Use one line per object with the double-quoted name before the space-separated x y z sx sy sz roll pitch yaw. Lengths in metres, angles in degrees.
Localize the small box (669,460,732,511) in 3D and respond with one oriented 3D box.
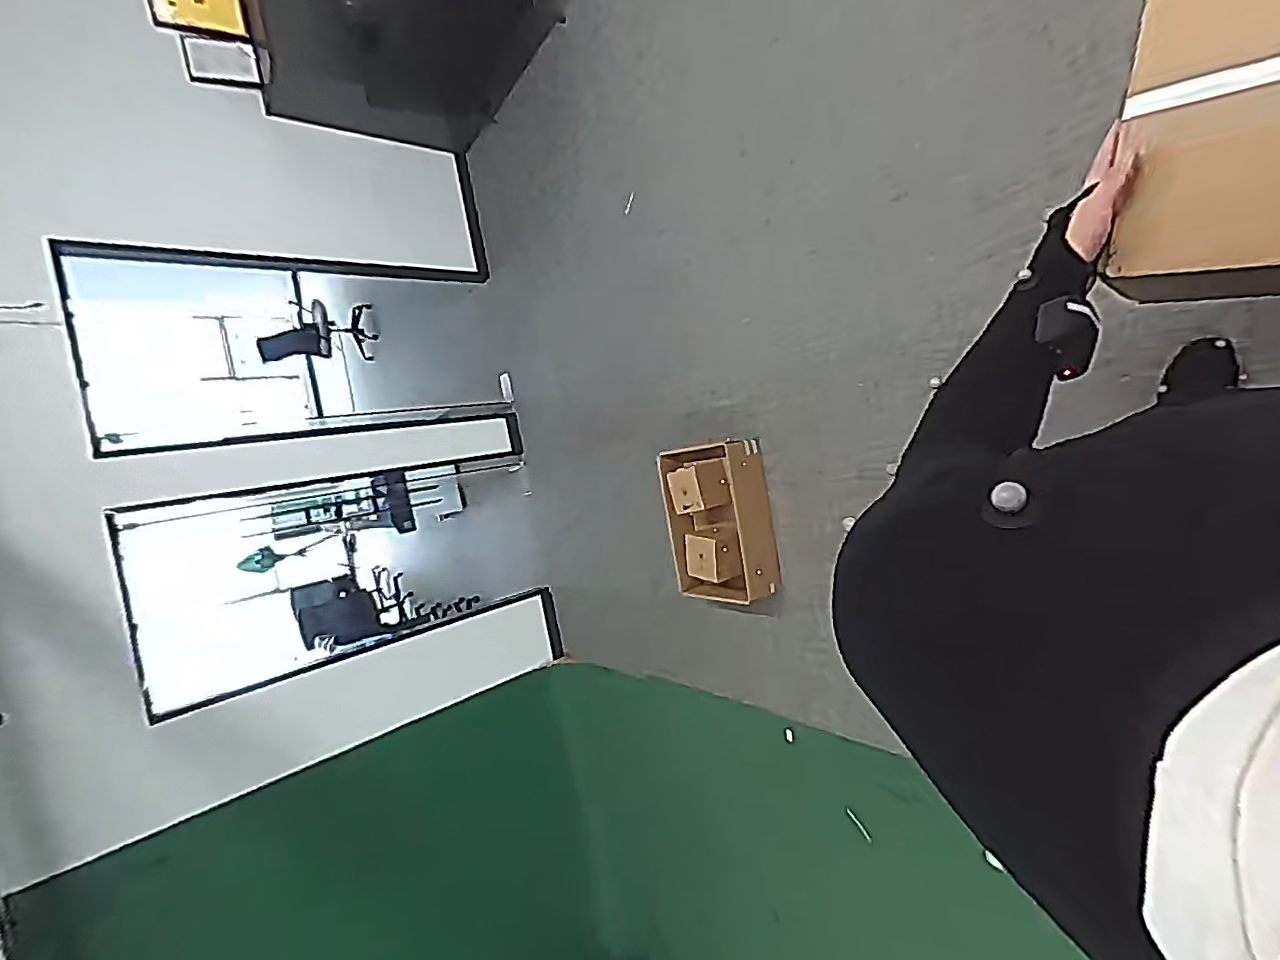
"small box" 0.248 0.019 2.187 0.168 0.176 0.179 -14 89 51
